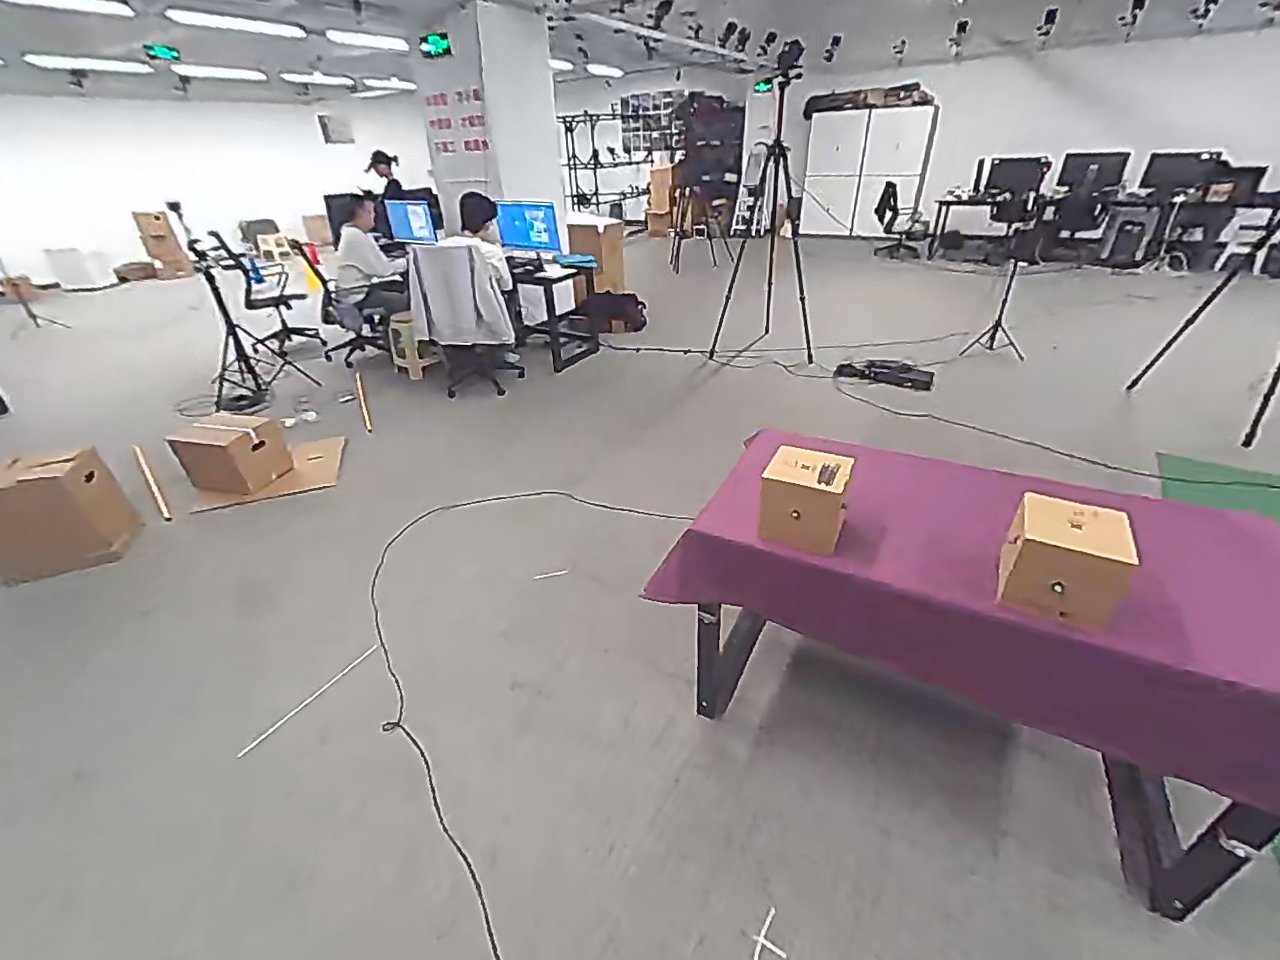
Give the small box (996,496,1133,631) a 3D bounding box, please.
[{"bbox_3d":[0.813,0.161,1.051,0.168,0.176,0.179,17,36,27],"label":"small box"}]
